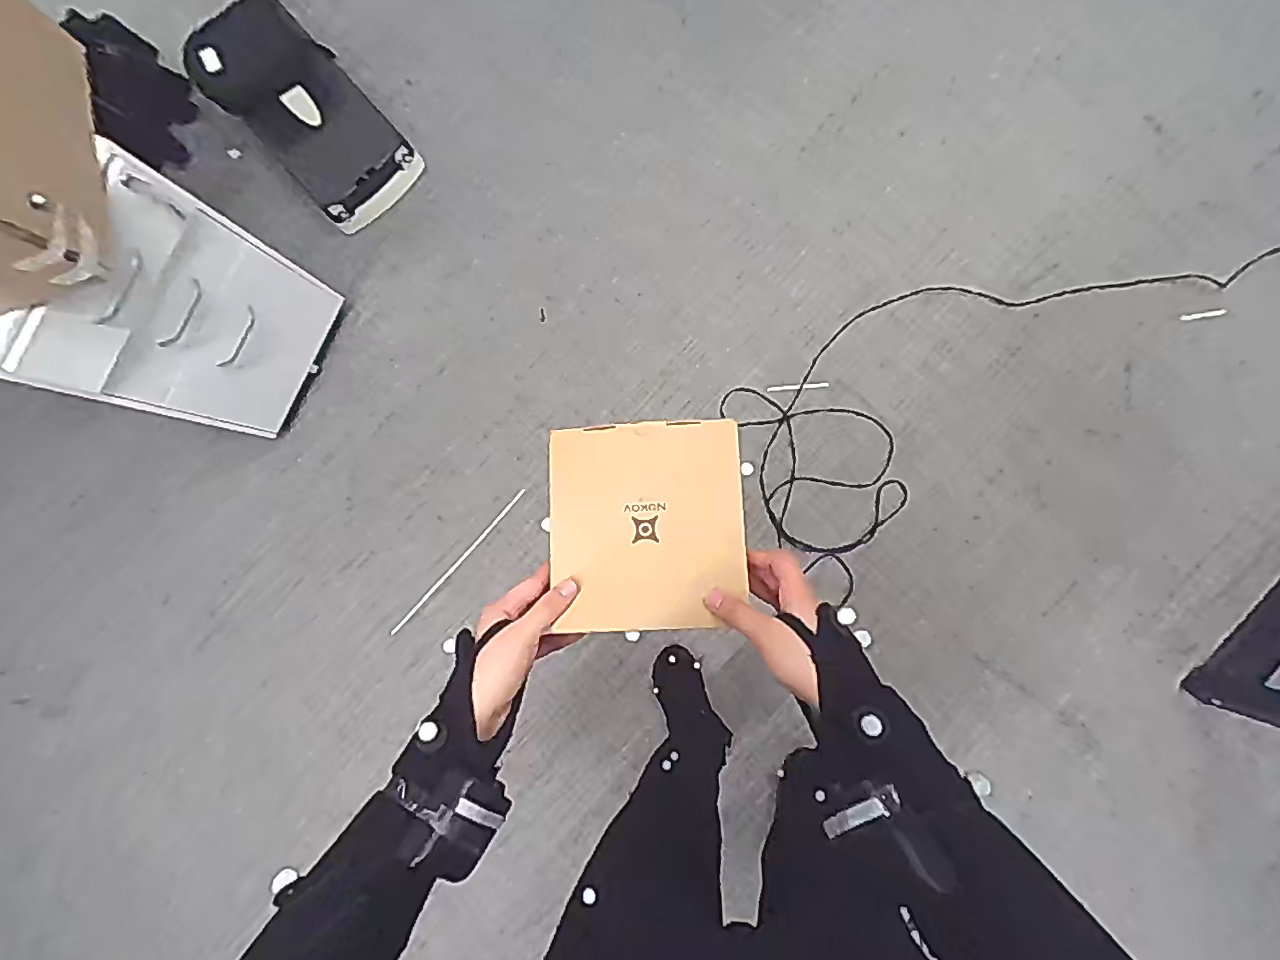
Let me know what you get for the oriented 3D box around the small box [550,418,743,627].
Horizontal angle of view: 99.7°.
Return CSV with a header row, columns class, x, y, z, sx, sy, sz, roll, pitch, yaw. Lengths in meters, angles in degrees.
class,x,y,z,sx,sy,sz,roll,pitch,yaw
small box,0.011,0.049,0.543,0.168,0.176,0.179,-3,78,5
